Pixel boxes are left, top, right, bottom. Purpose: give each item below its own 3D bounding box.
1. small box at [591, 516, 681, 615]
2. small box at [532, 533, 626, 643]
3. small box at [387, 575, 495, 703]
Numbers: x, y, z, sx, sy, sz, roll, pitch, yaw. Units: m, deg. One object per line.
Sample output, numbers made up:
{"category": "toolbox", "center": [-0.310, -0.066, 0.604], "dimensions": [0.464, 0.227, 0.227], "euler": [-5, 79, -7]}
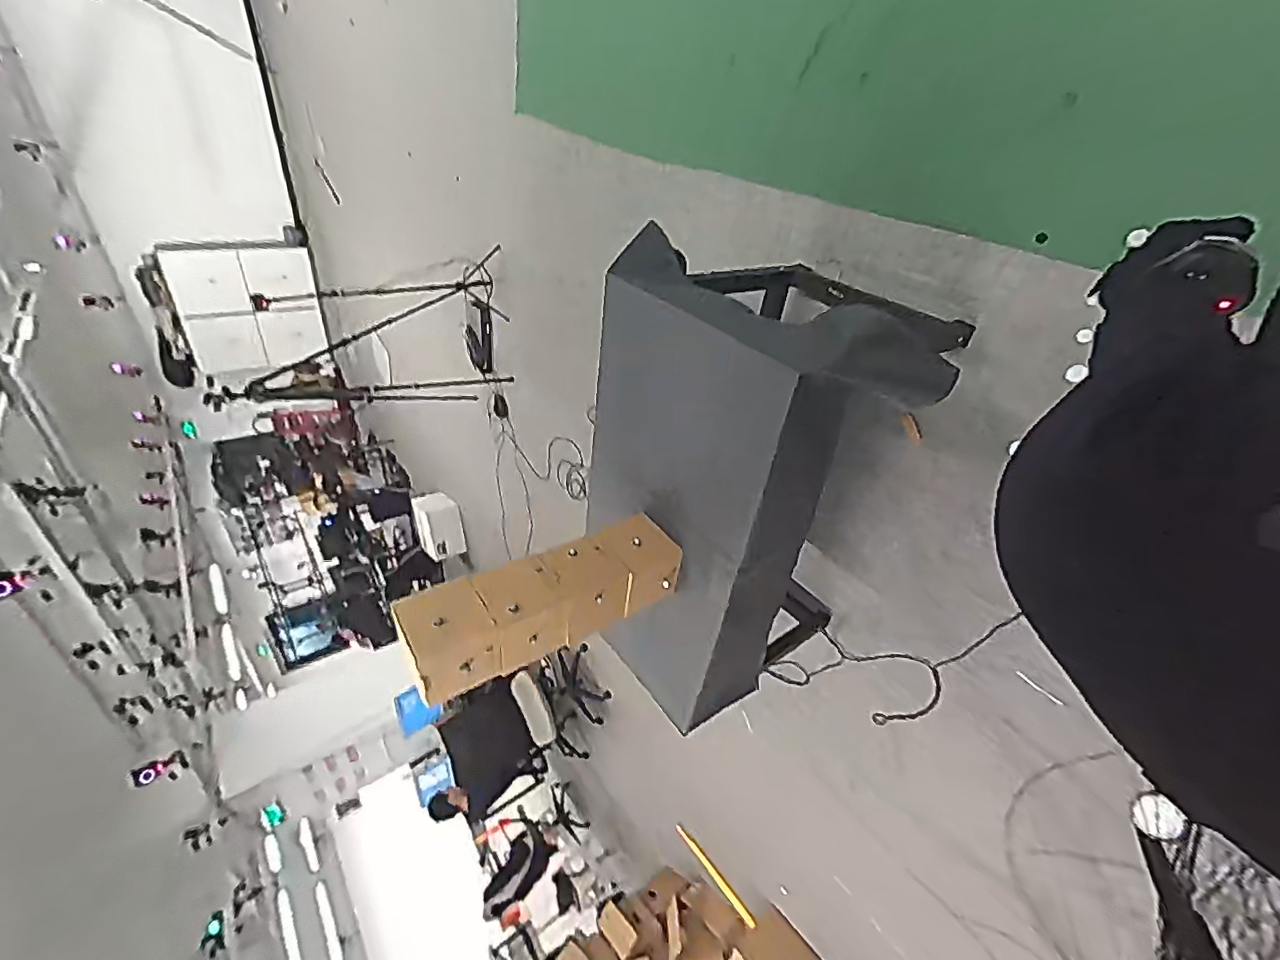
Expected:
{"category": "small box", "center": [-0.019, 0.214, 1.420], "dimensions": [0.179, 0.176, 0.168], "euler": [42, 137, 36]}
{"category": "small box", "center": [-0.151, 0.258, 1.335], "dimensions": [0.168, 0.176, 0.179], "euler": [41, 136, 39]}
{"category": "small box", "center": [-0.424, 0.335, 1.172], "dimensions": [0.179, 0.176, 0.168], "euler": [41, 136, 38]}
